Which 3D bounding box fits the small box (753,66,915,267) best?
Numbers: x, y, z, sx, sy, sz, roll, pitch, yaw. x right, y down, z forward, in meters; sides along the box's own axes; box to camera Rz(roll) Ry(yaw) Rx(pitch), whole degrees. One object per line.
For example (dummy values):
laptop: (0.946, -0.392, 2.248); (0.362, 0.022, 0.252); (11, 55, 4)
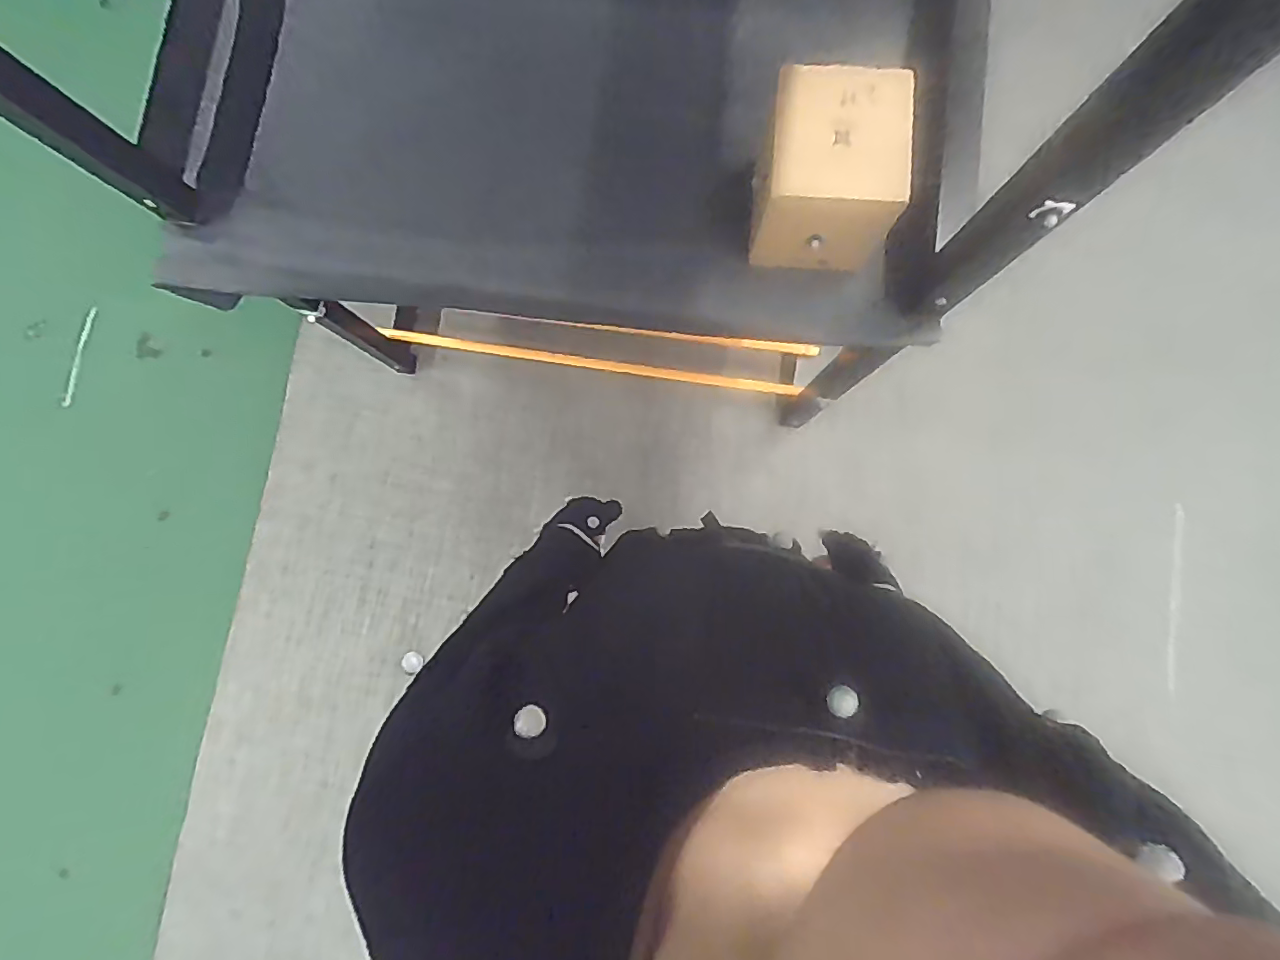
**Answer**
small box: (0.251, -0.411, 0.735); (0.168, 0.176, 0.179); (5, 84, 3)
